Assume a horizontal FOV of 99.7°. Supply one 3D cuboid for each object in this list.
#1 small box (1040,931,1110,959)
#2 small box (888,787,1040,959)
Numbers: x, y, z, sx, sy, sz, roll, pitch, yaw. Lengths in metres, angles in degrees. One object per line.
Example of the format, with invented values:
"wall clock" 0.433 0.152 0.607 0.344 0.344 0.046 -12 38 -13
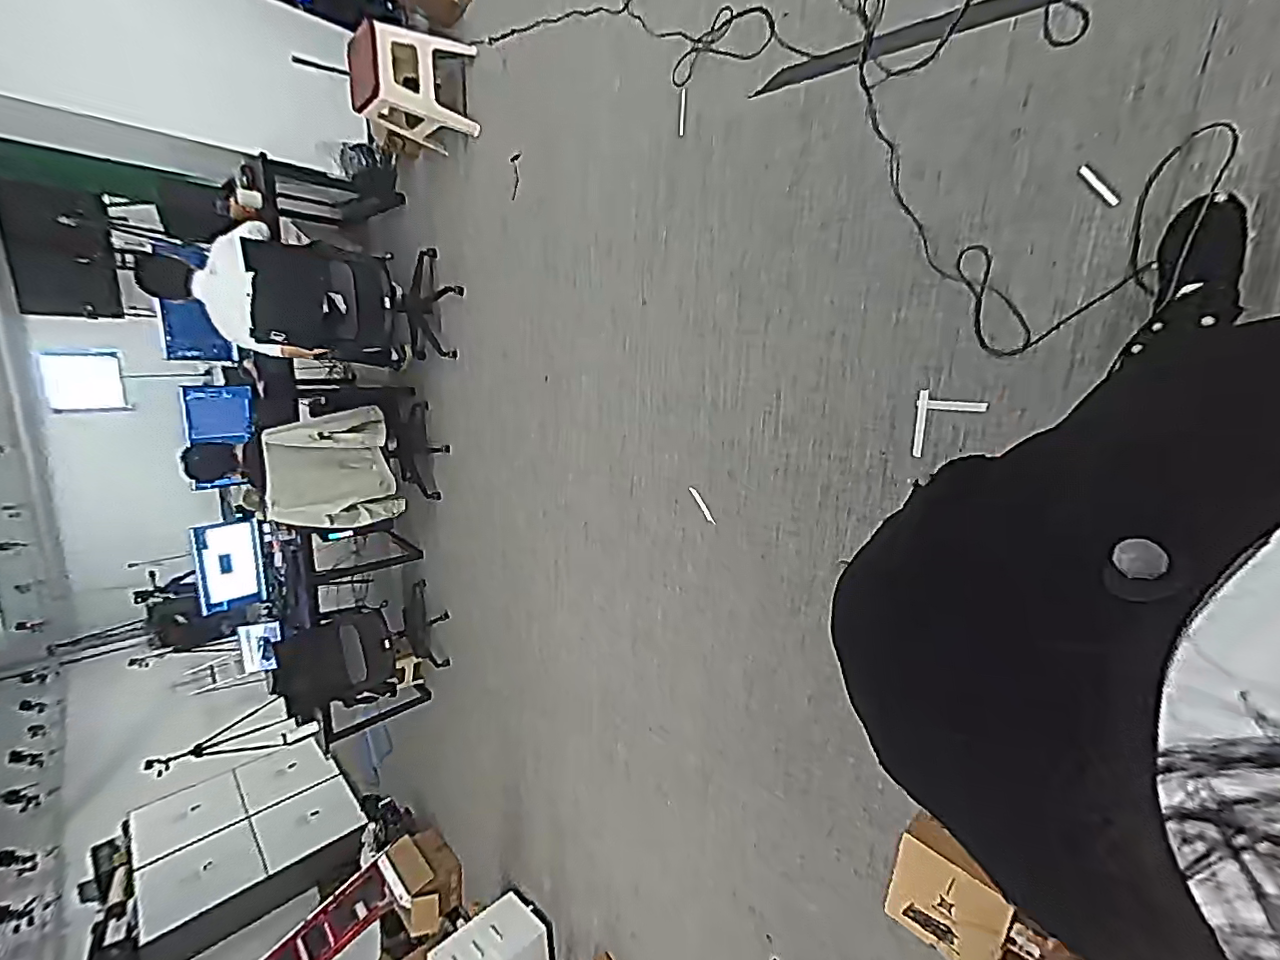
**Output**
"small box" 0.580 0.739 0.673 0.168 0.176 0.179 18 108 40
"small box" 0.555 0.679 0.926 0.168 0.176 0.179 19 109 44
